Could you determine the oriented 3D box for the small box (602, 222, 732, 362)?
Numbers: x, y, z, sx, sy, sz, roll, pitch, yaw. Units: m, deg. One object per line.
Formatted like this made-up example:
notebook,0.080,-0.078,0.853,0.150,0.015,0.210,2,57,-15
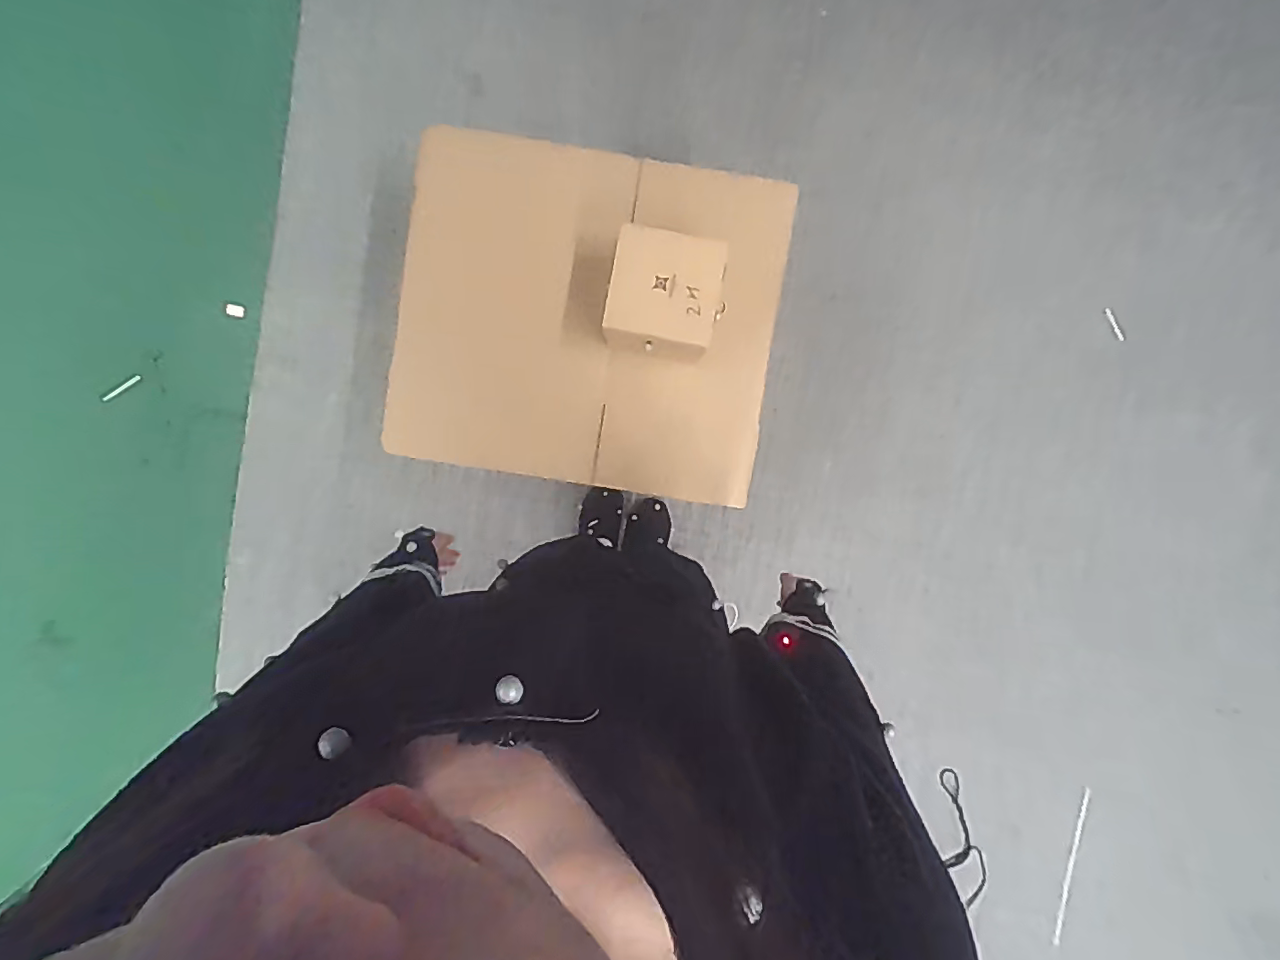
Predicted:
small box,0.043,-0.307,0.919,0.179,0.176,0.168,12,93,1
